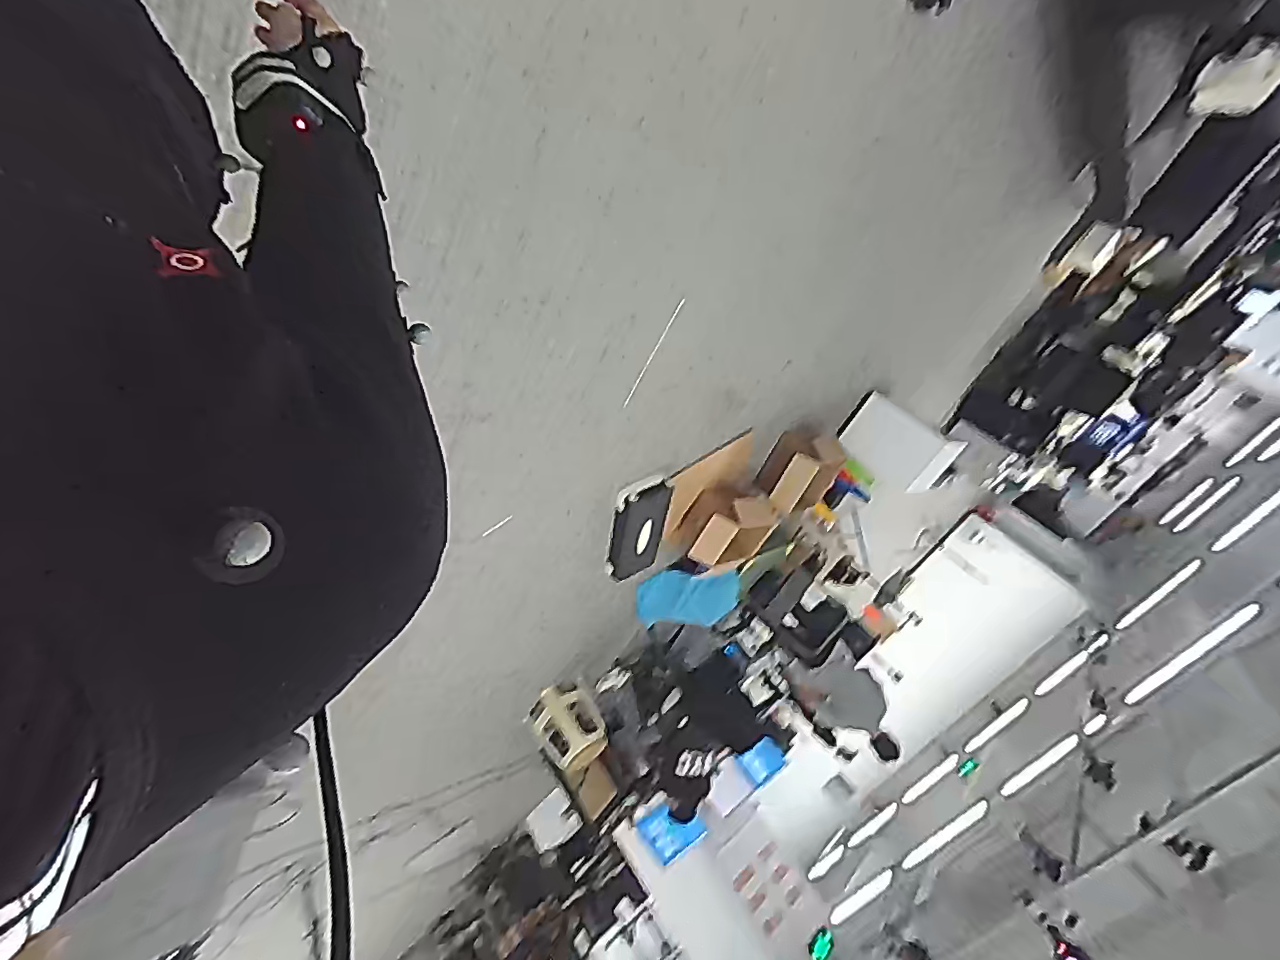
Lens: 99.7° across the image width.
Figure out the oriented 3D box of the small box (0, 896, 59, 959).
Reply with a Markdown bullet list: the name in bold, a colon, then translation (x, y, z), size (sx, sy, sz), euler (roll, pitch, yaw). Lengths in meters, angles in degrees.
- **small box**: translation (-1.012, 0.794, 0.819), size (0.179, 0.176, 0.168), euler (-3, 132, -48)
